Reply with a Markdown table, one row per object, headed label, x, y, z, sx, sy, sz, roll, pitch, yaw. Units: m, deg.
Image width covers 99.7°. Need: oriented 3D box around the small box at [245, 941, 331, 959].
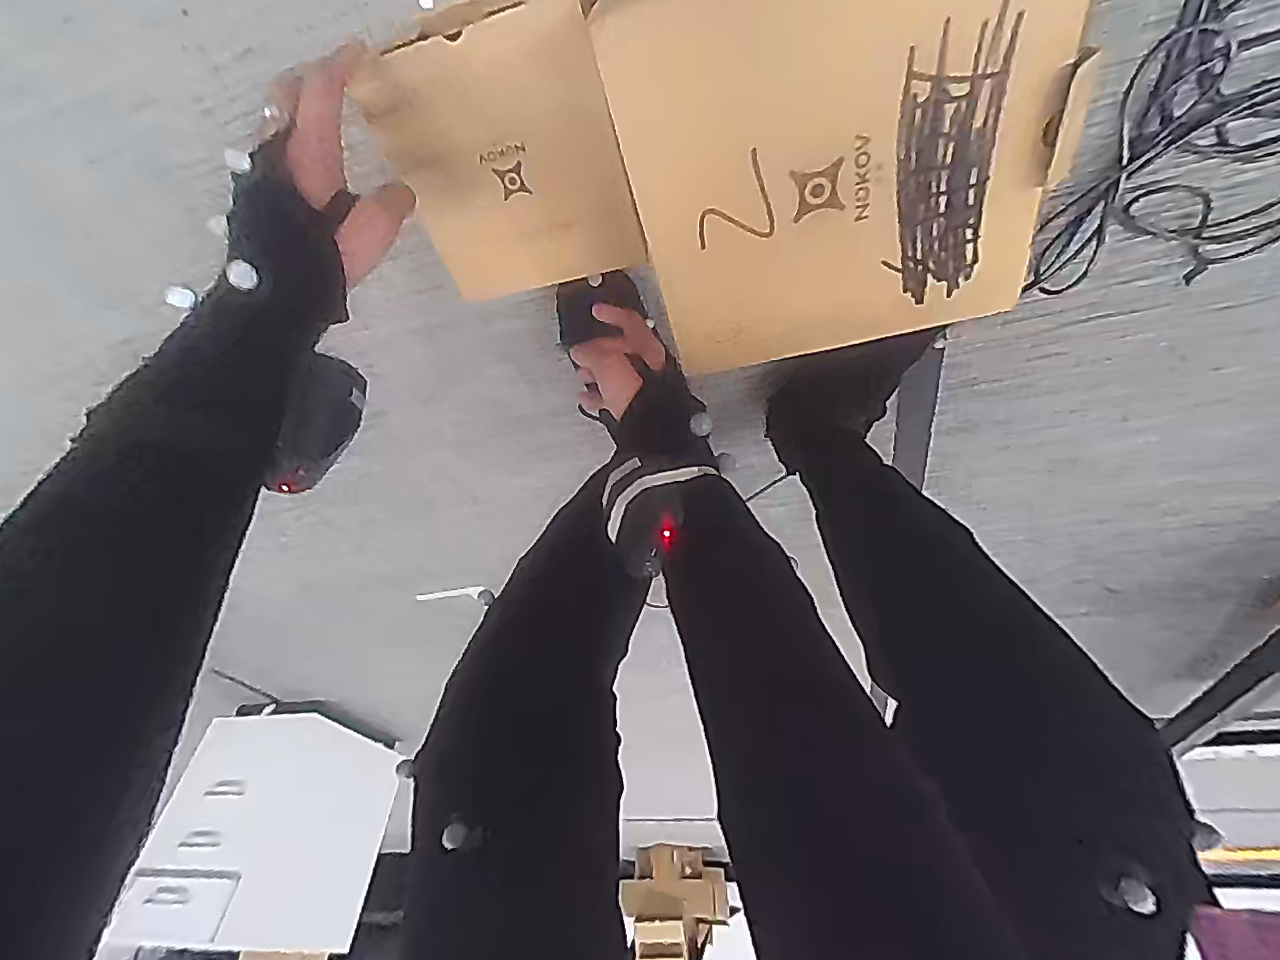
| label | x | y | z | sx | sy | sz | roll | pitch | yaw |
| --- | --- | --- | --- | --- | --- | --- | --- | --- | --- |
| small box | -1.054 | 1.462 | 1.580 | 0.179 | 0.176 | 0.168 | -9 | 137 | 15 |
